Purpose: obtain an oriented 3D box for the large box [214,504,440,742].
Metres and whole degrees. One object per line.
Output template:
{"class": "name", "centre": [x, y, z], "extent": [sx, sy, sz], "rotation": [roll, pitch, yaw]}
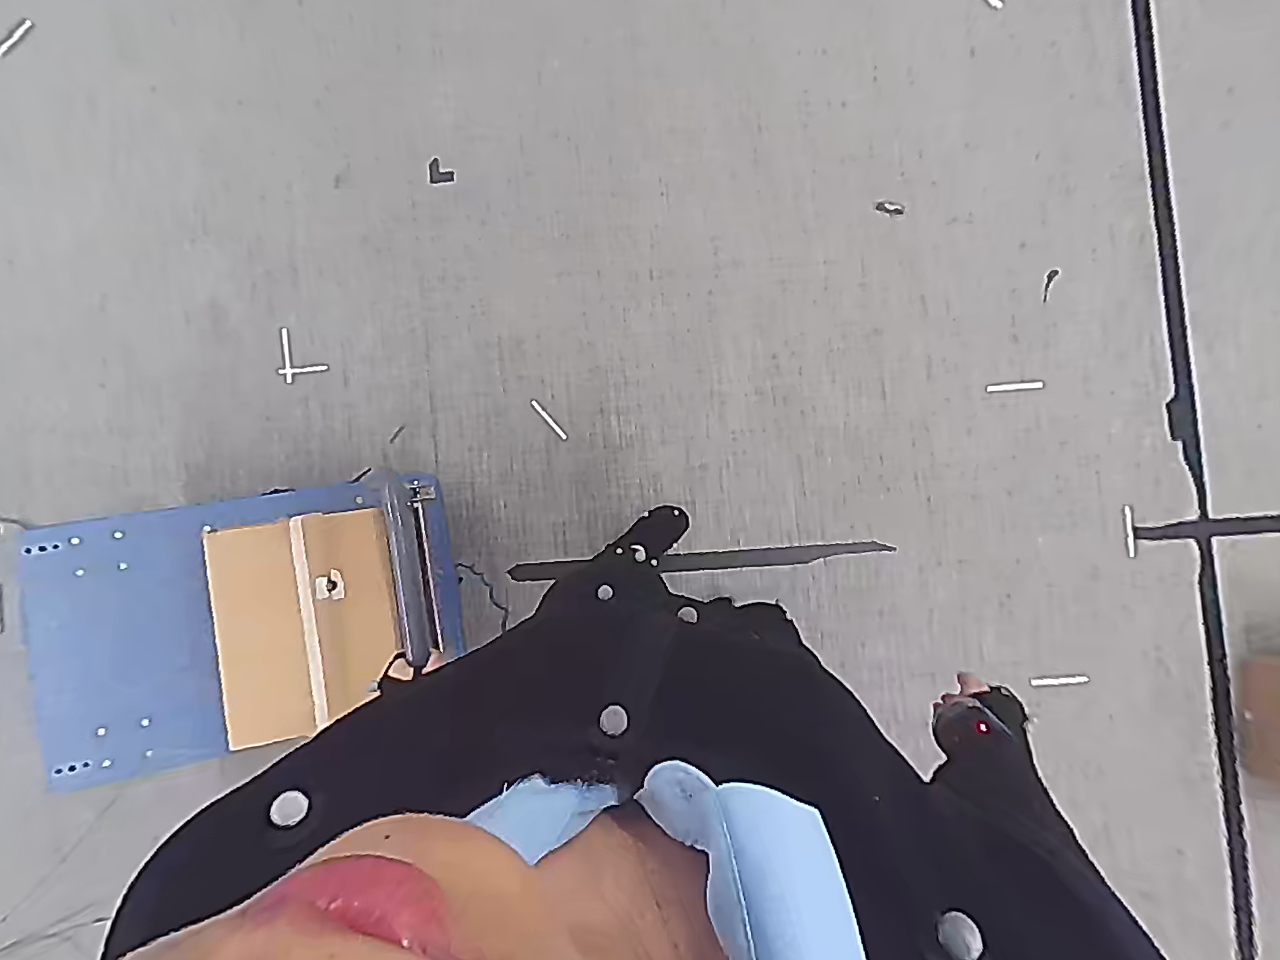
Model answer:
{"class": "large box", "centre": [-0.645, 0.277, 1.177], "extent": [0.320, 0.320, 0.408], "rotation": [-9, 88, -14]}
